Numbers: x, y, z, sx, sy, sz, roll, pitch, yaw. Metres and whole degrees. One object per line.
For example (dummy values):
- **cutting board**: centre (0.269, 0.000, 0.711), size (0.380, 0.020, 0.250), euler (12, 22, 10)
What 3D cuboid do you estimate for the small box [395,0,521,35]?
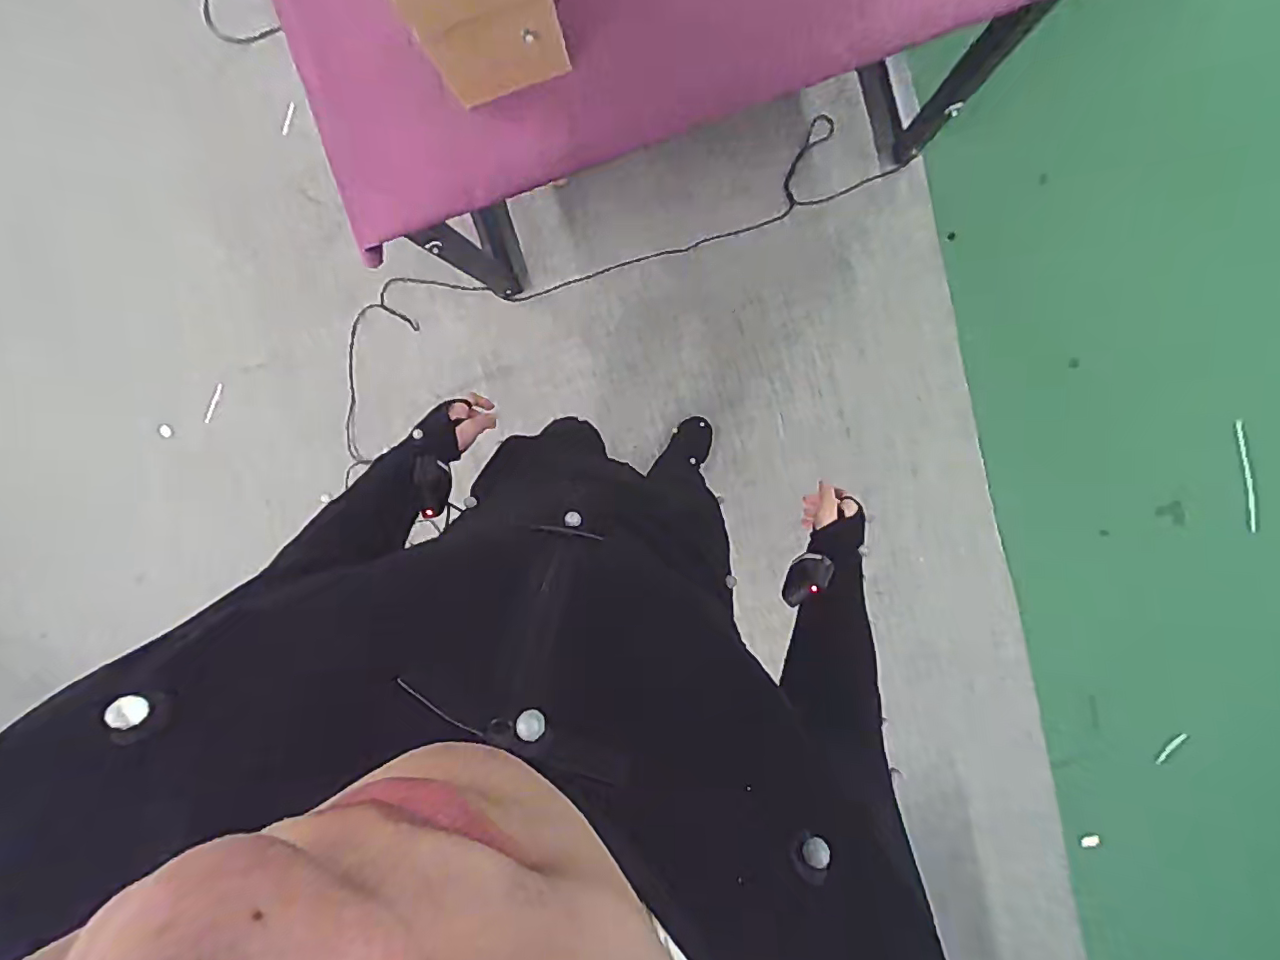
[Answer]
- **small box**: centre (-0.214, -0.630, 0.569), size (0.179, 0.176, 0.168), euler (-16, 96, 6)
